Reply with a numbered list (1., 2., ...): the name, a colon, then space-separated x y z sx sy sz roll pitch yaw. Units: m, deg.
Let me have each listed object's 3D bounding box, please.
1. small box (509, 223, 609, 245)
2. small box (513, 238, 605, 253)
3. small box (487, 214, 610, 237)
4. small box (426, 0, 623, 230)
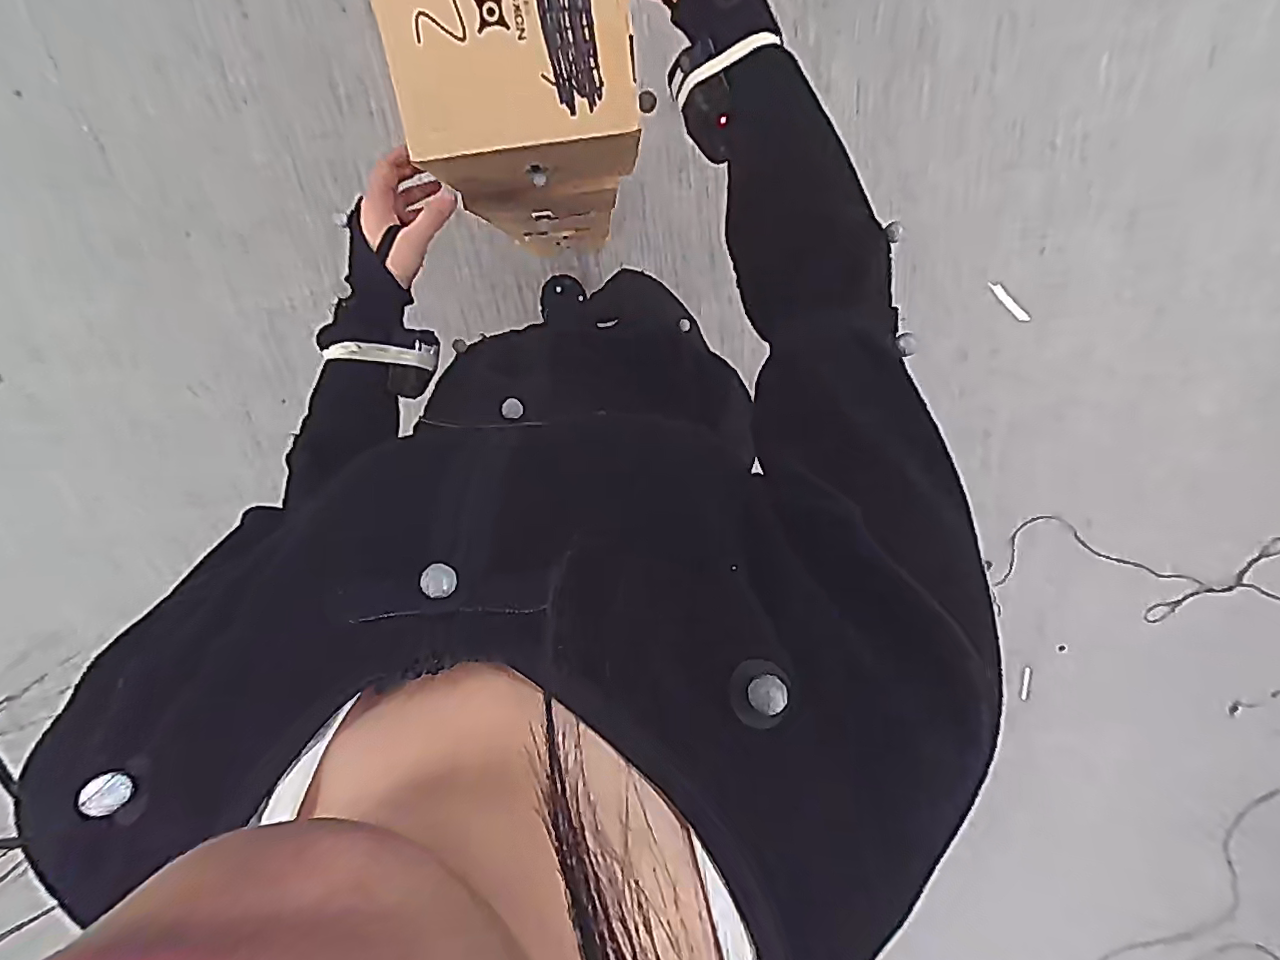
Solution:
1. small box: -0.141 -0.497 0.914 0.168 0.176 0.179 -7 111 -3
2. small box: -0.163 -0.547 1.068 0.179 0.176 0.168 -6 111 -3
3. small box: -0.131 -0.445 0.758 0.168 0.176 0.179 -7 109 -2
4. small box: -0.115 -0.392 0.606 0.168 0.176 0.179 -9 111 -1
